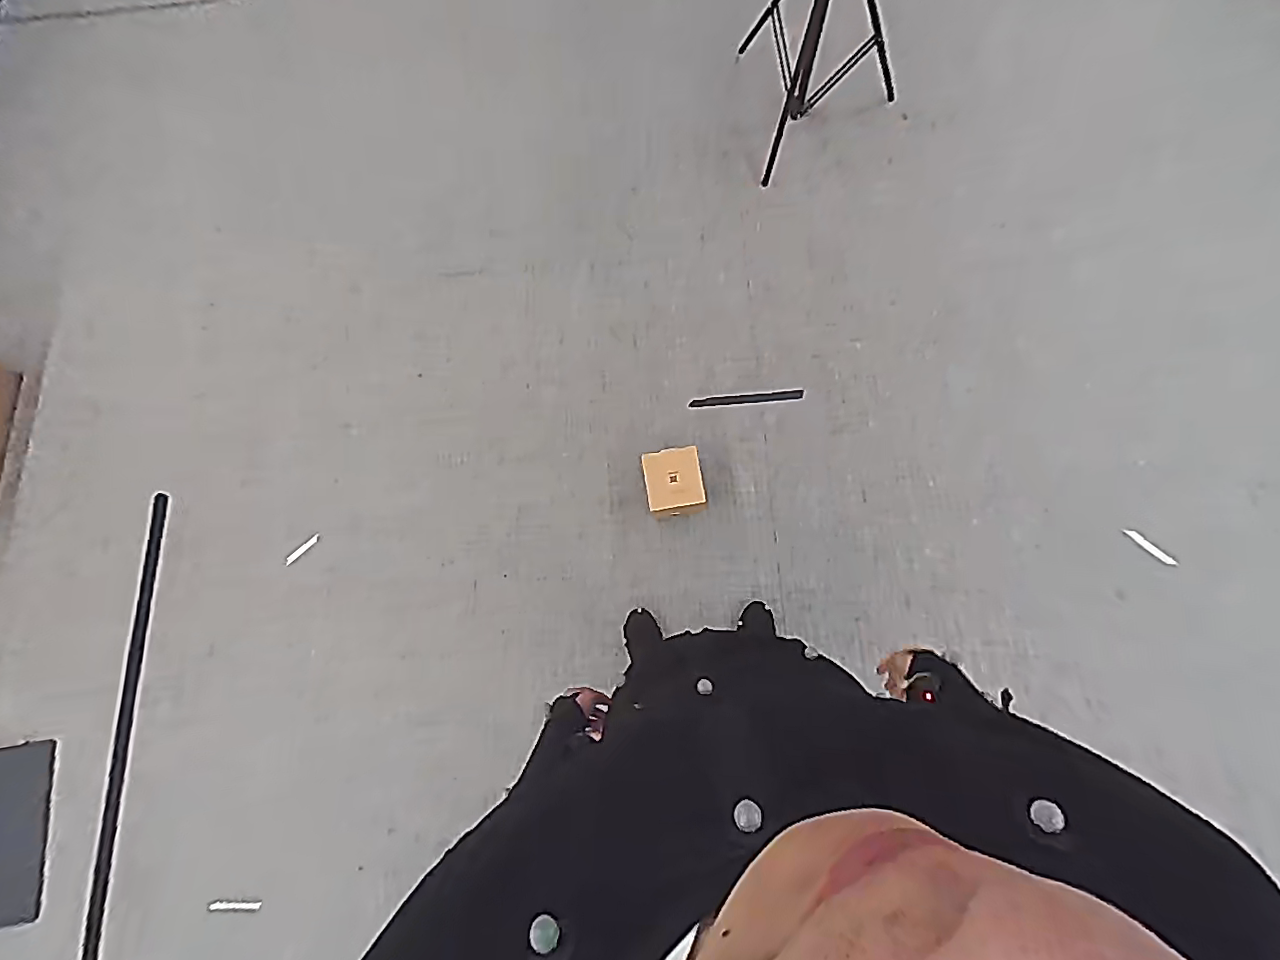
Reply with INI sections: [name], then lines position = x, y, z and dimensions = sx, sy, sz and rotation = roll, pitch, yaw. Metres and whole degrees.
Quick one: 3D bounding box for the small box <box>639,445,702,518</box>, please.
[small box]
position = 0.093, 0.008, 1.652
dimensions = 0.168, 0.176, 0.179
rotation = -10, 77, 2
